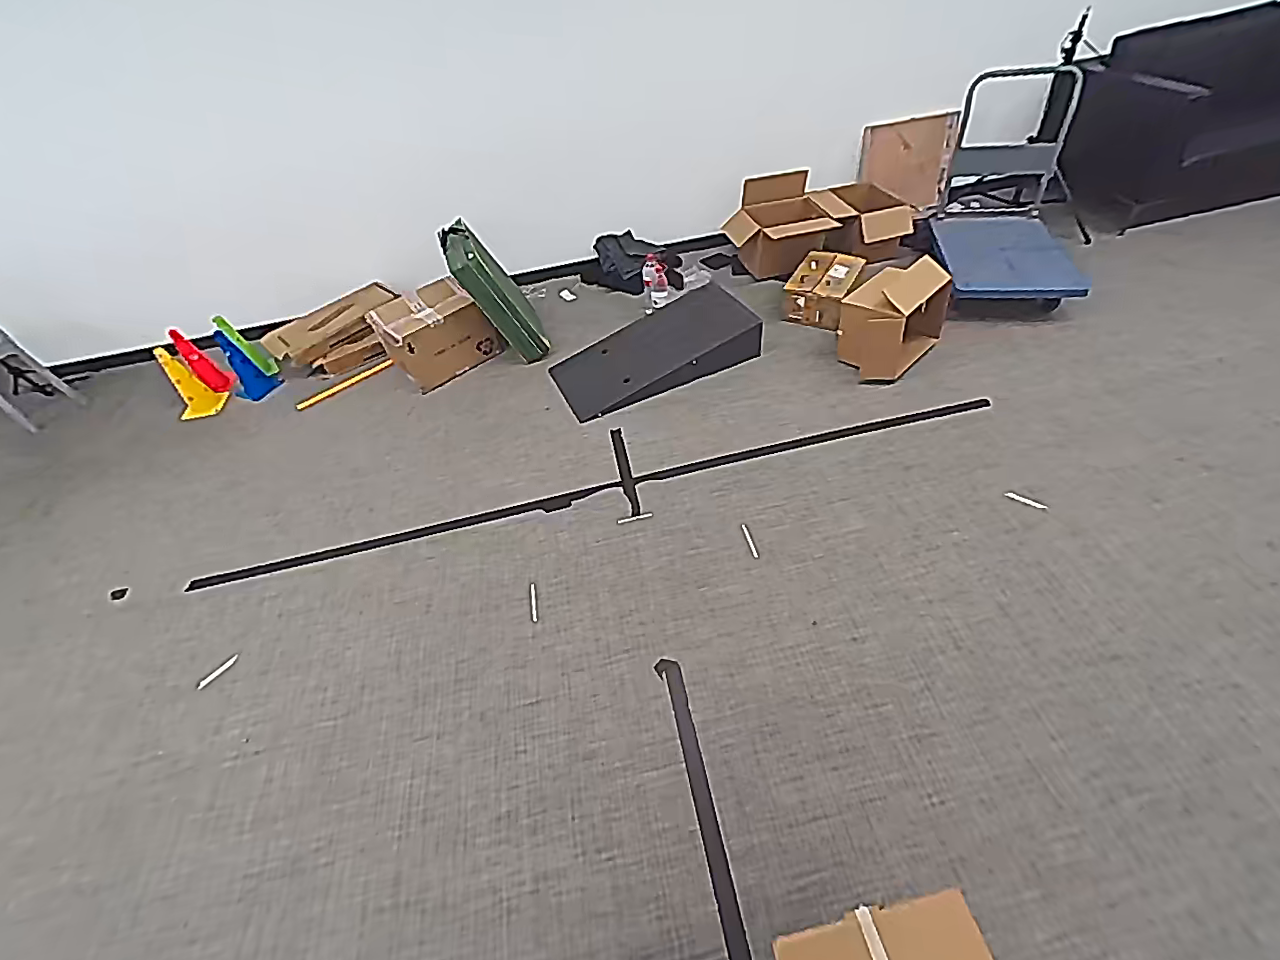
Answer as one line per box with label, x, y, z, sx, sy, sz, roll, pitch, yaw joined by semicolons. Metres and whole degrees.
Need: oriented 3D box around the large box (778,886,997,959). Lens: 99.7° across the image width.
large box;0.438;0.927;0.845;0.320;0.320;0.408;-18;48;2
